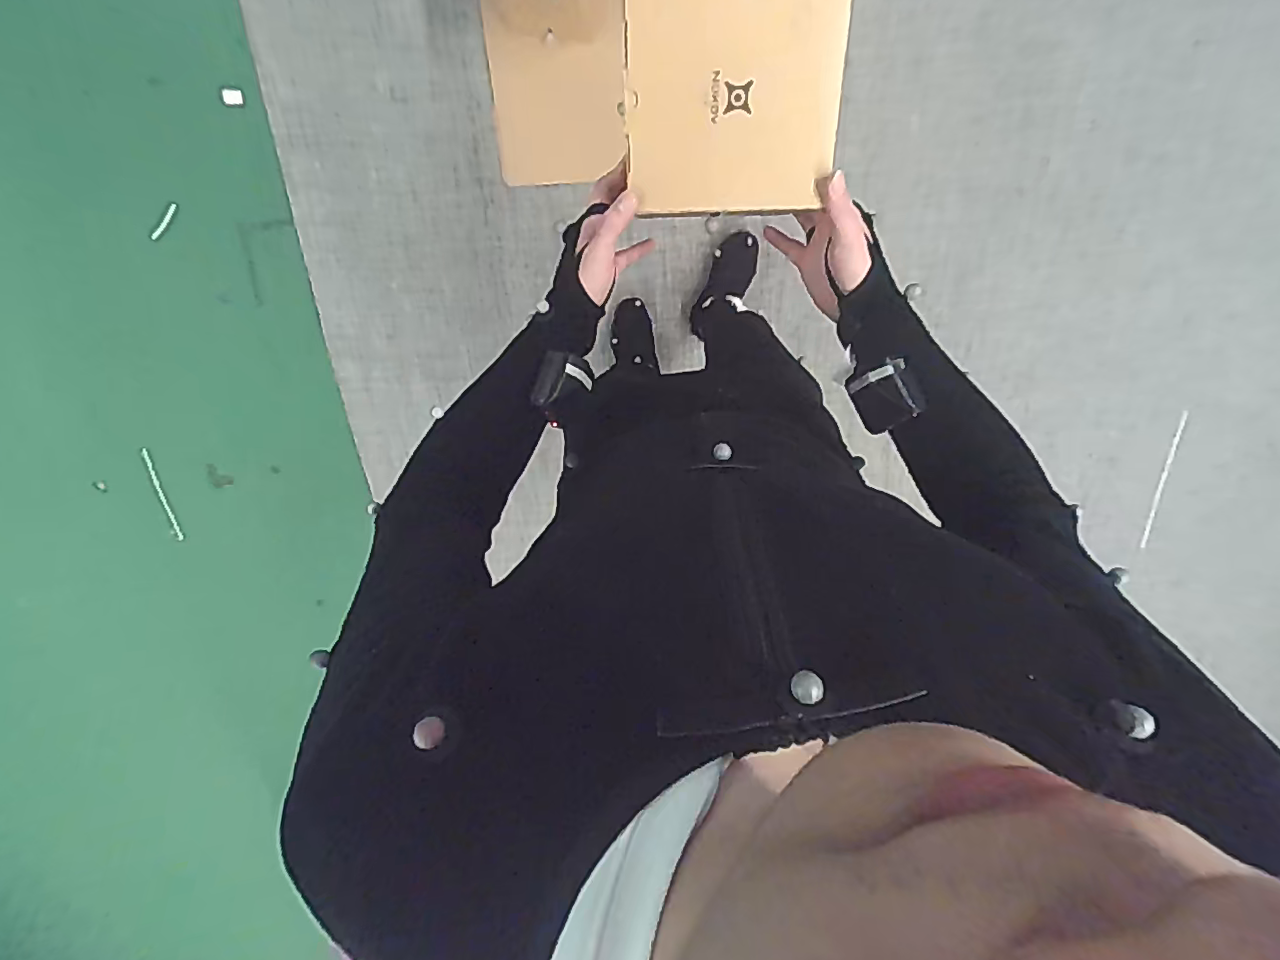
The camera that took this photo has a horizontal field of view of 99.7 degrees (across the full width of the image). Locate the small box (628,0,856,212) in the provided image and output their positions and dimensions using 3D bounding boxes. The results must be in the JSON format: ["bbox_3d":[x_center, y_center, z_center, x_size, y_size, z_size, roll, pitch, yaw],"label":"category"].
[{"bbox_3d":[0.081,-0.347,0.508,0.179,0.176,0.168,-1,116,3],"label":"small box"}]
